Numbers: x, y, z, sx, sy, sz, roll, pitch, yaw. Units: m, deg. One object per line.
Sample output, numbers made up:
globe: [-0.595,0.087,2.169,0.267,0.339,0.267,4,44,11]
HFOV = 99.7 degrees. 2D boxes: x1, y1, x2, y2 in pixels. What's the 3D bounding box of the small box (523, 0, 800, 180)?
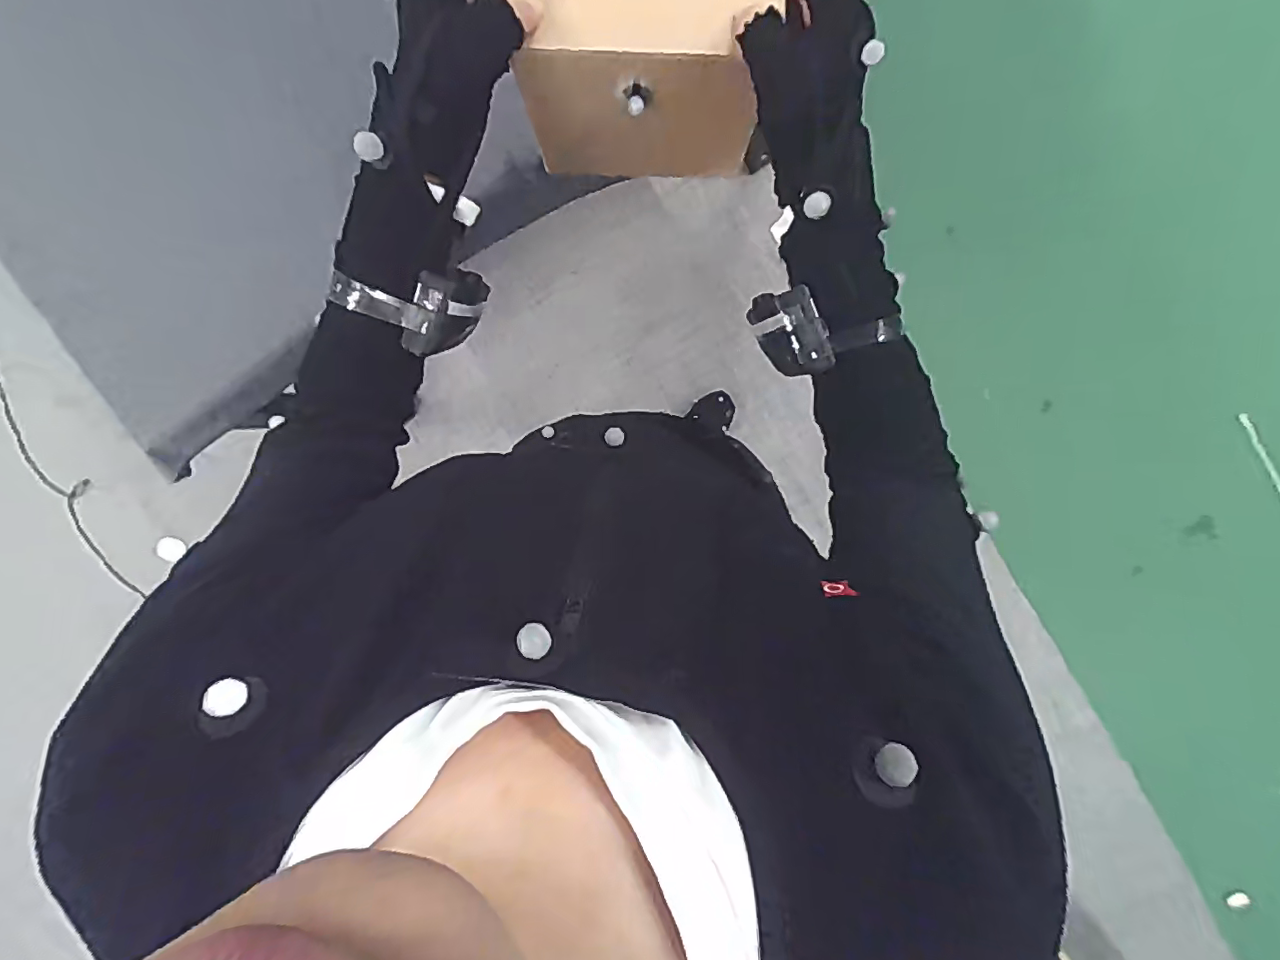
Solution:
small box: [0.014,-0.352,0.415,0.179,0.176,0.168,1,95,-1]
